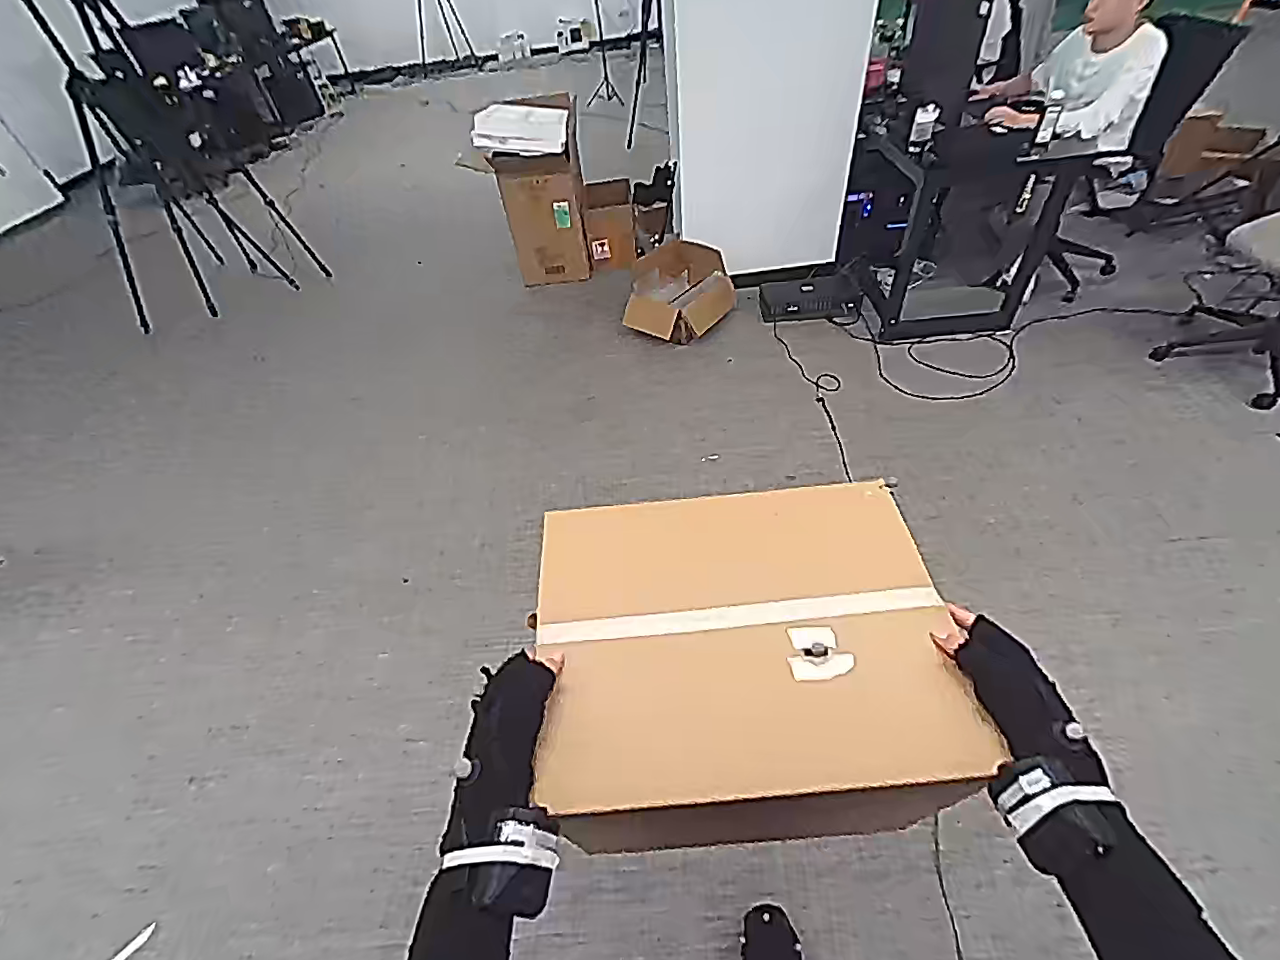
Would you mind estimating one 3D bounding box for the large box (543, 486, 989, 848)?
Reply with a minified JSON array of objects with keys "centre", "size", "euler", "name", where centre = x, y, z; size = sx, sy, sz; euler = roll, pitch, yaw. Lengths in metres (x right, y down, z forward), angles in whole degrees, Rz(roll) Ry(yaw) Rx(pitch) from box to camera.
[{"centre":[0.106,0.240,0.678],"size":[0.408,0.320,0.320],"euler":[-6,51,0],"name":"large box"}]
